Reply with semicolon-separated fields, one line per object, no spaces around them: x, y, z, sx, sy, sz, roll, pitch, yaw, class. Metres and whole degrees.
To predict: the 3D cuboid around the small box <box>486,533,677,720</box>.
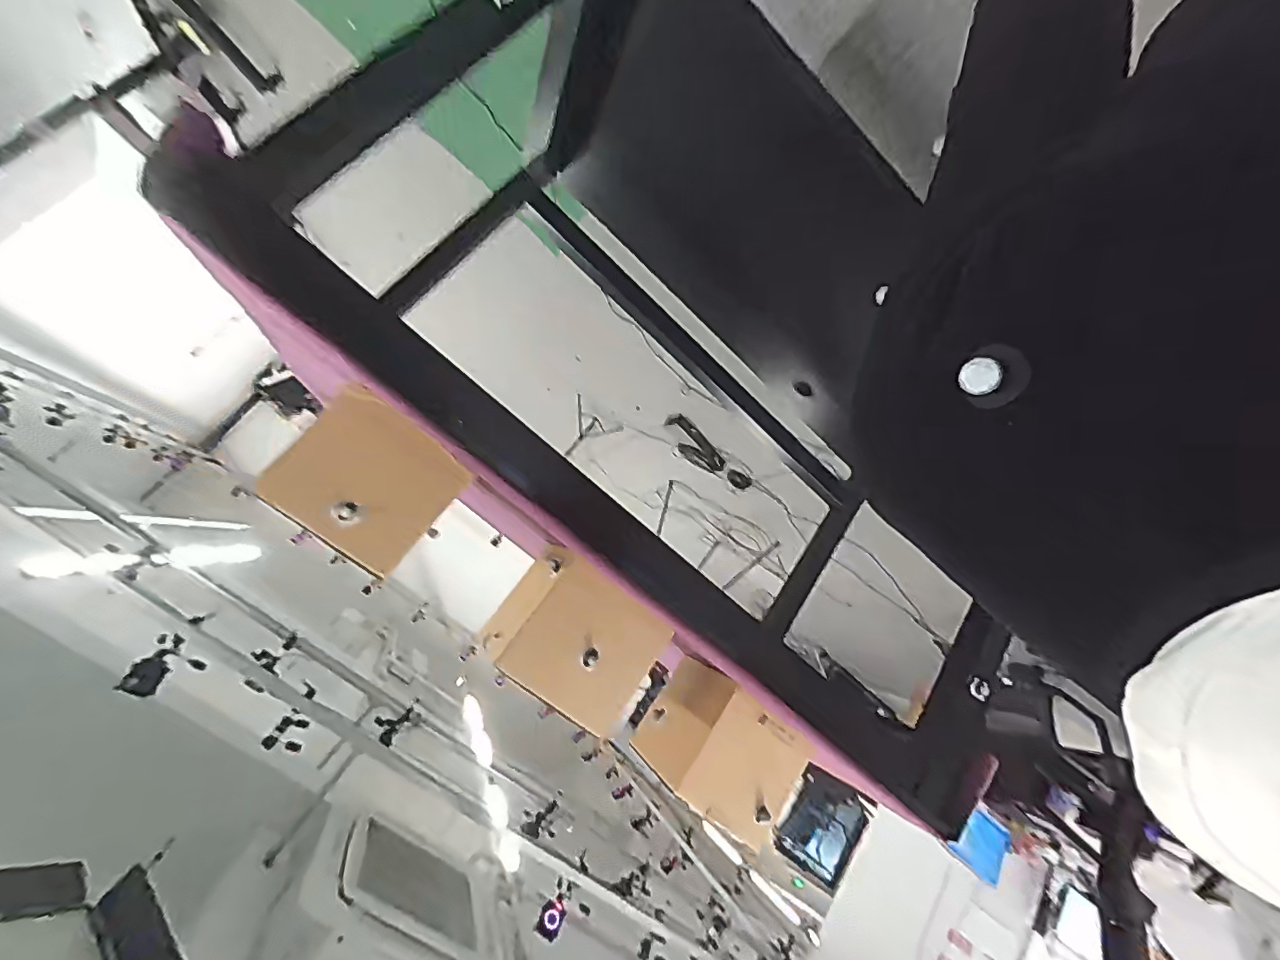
-0.083;0.189;0.753;0.179;0.176;0.168;41;164;-16;small box

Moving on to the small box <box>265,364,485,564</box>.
-0.325;-0.019;0.695;0.179;0.176;0.168;42;163;-17;small box
